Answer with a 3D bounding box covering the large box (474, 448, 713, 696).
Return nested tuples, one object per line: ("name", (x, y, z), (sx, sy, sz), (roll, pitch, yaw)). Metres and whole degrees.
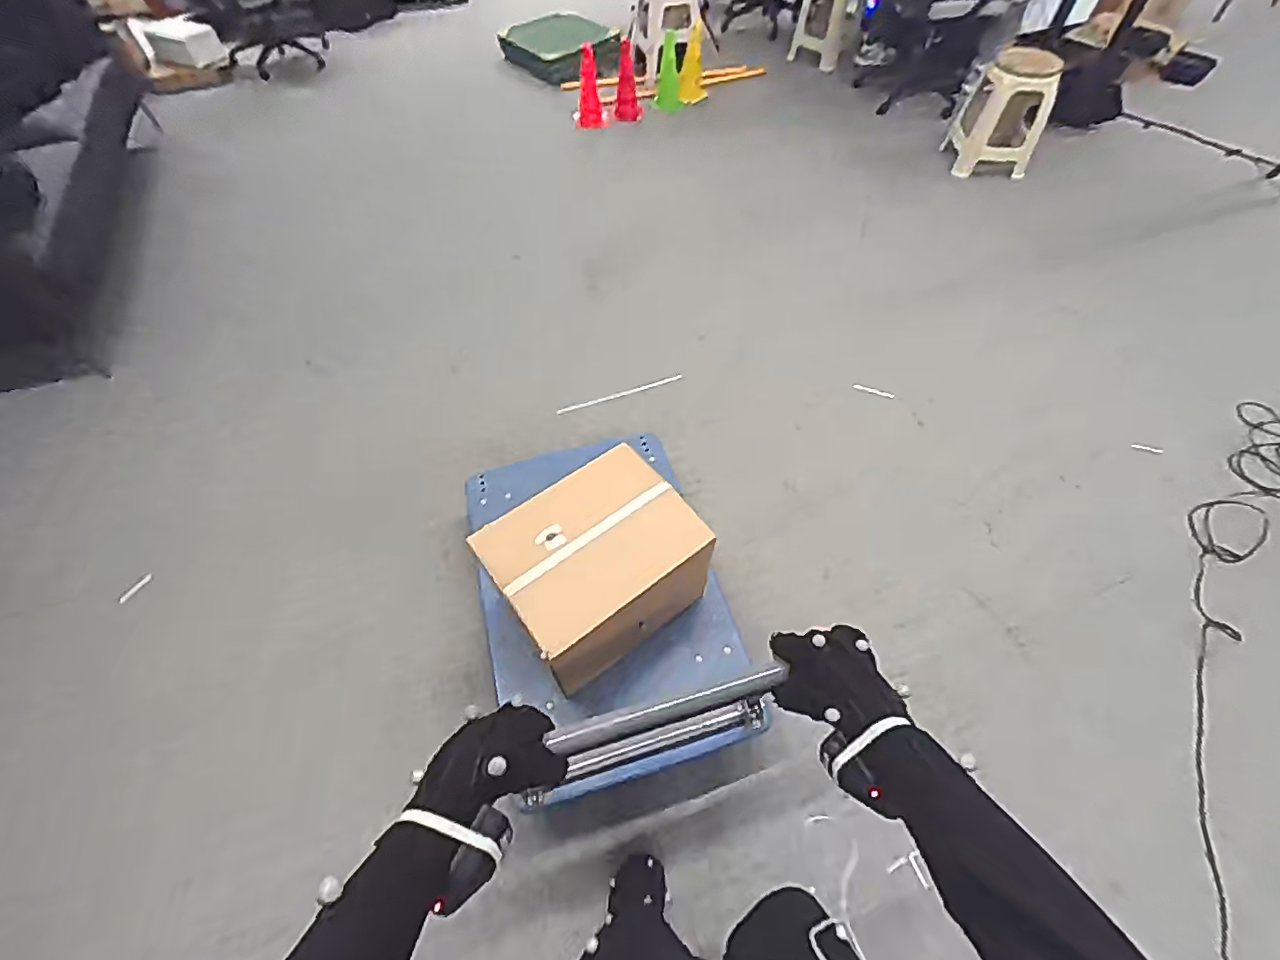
("large box", (-0.090, 0.209, 1.229), (0.408, 0.320, 0.320), (-35, 61, -20))
